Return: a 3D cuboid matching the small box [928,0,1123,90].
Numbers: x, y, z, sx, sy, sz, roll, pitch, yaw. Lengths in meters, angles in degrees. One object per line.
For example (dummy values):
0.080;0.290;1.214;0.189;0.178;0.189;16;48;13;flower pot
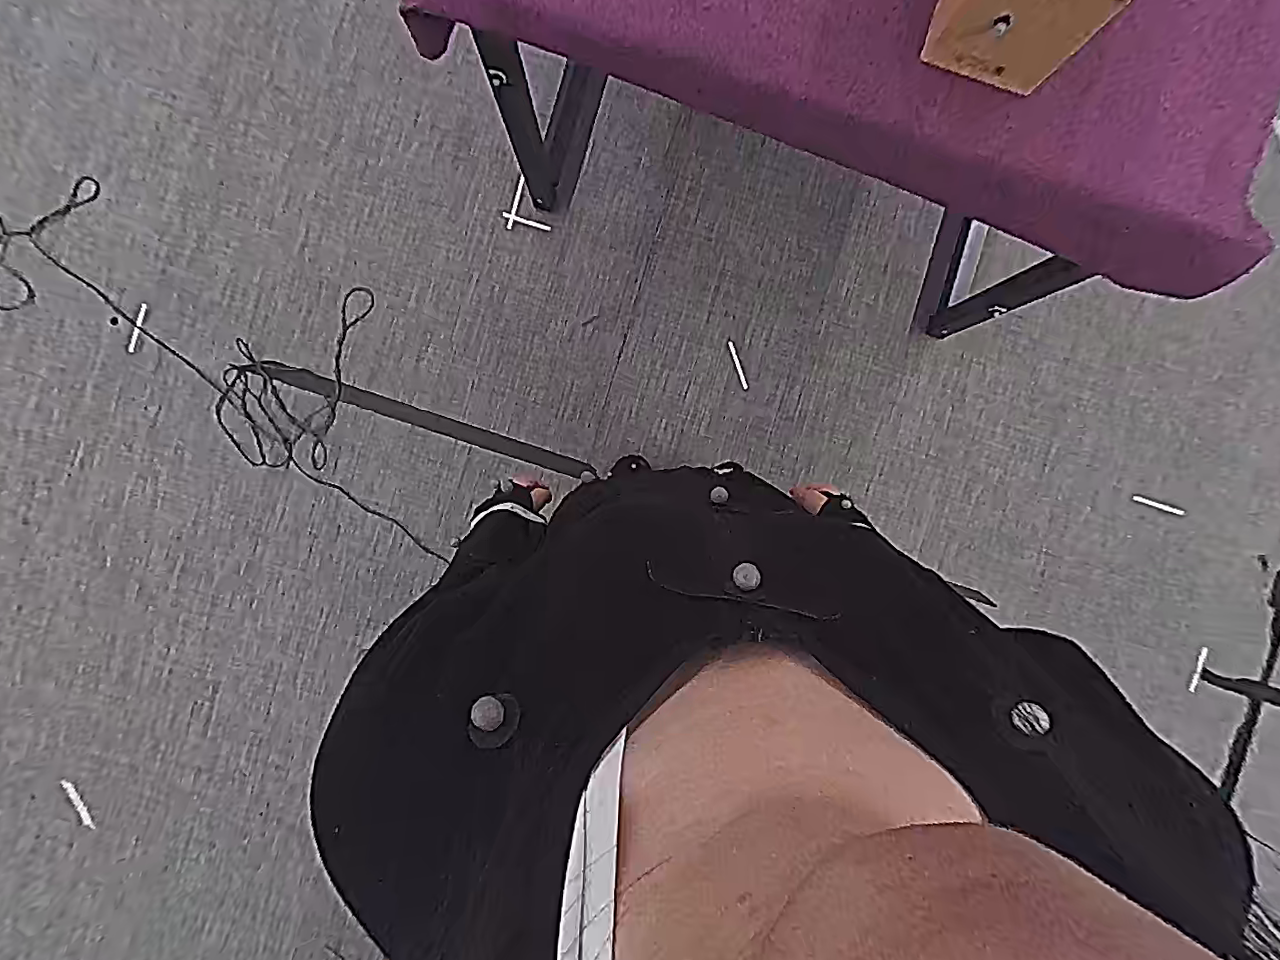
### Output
0.503;-0.653;0.690;0.168;0.176;0.179;17;90;-2;small box
